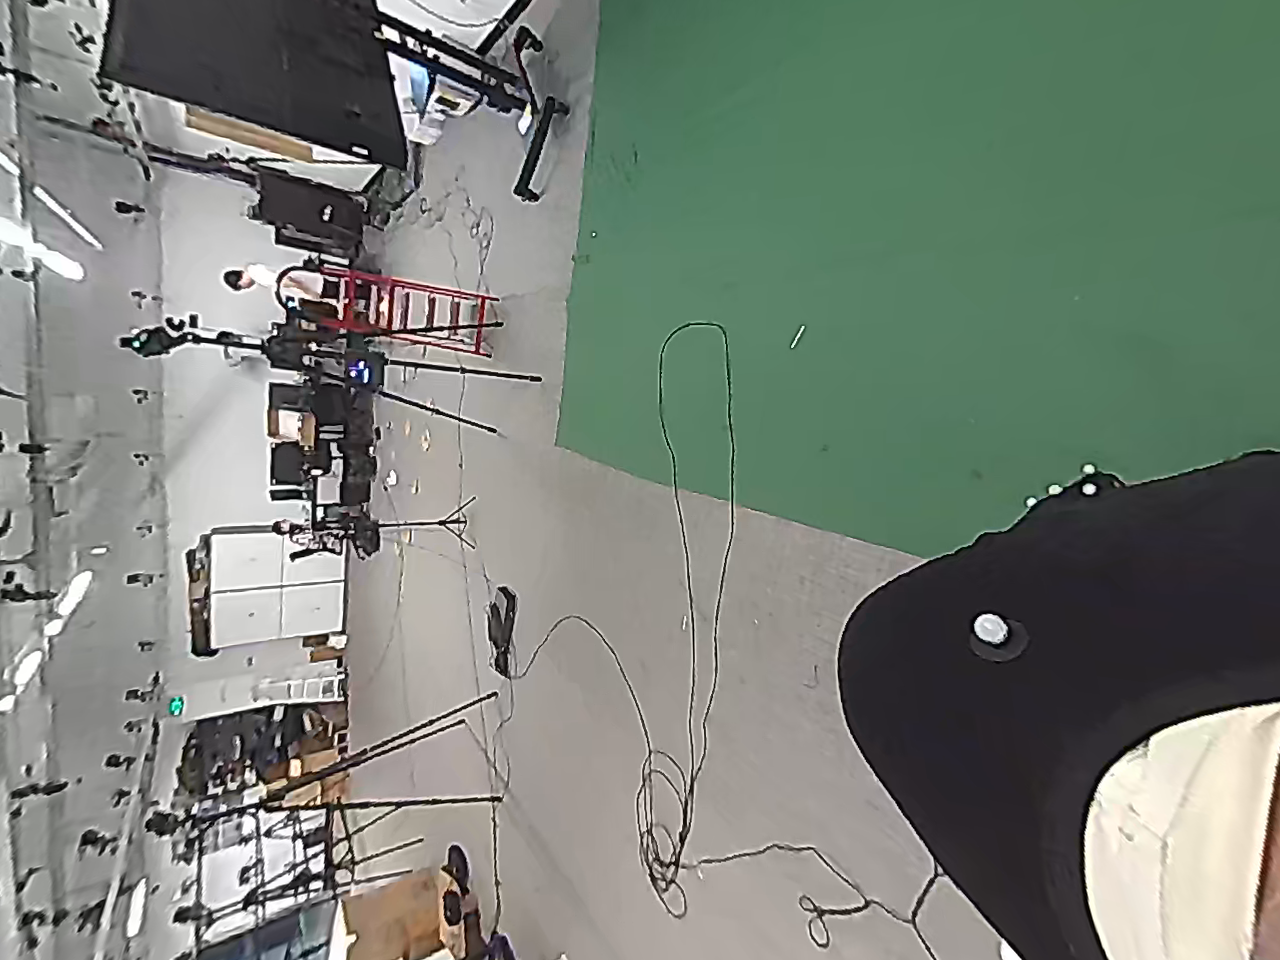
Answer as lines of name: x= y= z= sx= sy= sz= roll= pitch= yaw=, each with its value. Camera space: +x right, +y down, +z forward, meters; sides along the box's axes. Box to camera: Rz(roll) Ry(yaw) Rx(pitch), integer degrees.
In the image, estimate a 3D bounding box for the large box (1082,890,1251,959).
large box: x=1.134 y=1.143 z=1.062 sx=0.408 sy=0.320 sz=0.320 roll=14 pitch=101 yaw=51
